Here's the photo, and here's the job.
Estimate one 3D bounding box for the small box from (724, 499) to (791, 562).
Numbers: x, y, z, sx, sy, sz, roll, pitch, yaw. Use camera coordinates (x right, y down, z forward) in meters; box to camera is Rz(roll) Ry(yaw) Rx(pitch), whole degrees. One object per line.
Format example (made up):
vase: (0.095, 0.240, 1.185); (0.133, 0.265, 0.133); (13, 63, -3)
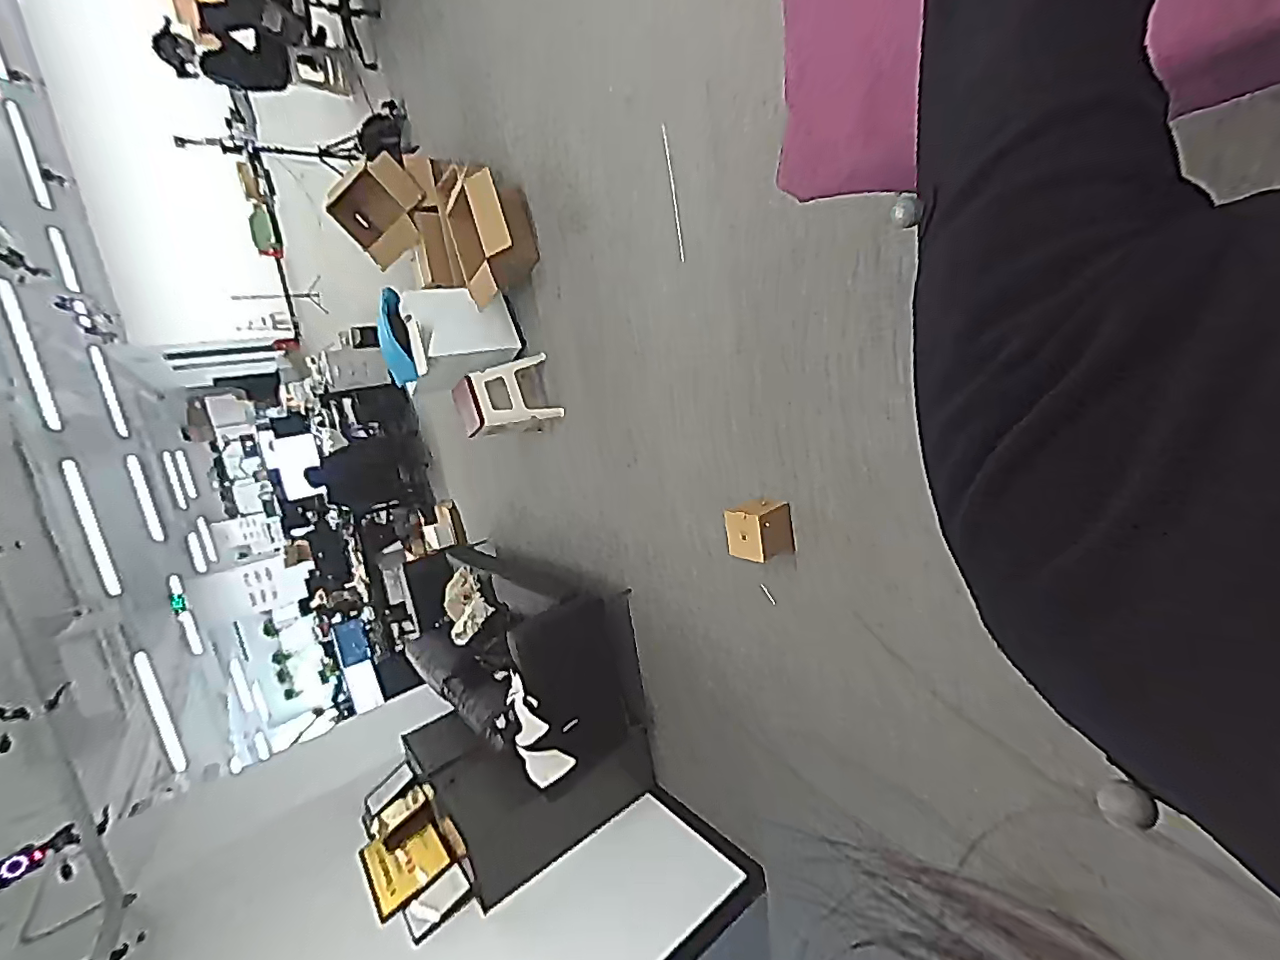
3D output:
small box: (0.434, 0.179, 1.971); (0.168, 0.176, 0.179); (5, 108, 53)
